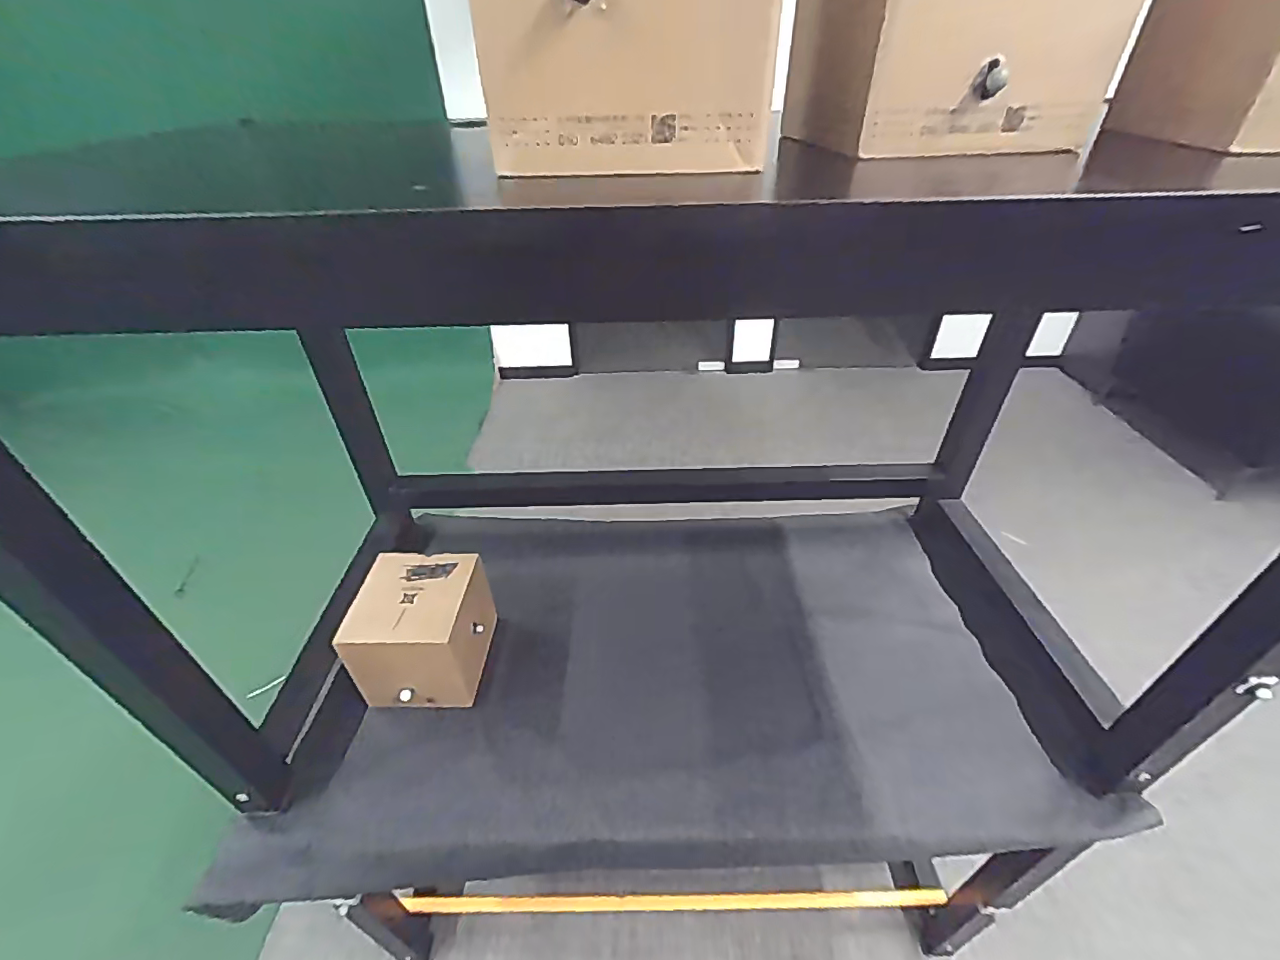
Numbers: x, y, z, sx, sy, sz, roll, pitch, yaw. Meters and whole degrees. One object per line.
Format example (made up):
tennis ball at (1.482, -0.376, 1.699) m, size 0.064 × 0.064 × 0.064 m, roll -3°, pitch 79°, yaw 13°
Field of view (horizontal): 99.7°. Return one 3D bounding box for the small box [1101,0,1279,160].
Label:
small box at (0.466, -0.311, 0.354) m, size 0.168 × 0.176 × 0.179 m, roll 6°, pitch 38°, yaw 9°

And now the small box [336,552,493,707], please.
small box at (-0.342, 0.235, 0.864) m, size 0.168 × 0.176 × 0.179 m, roll 0°, pitch 38°, yaw 1°
